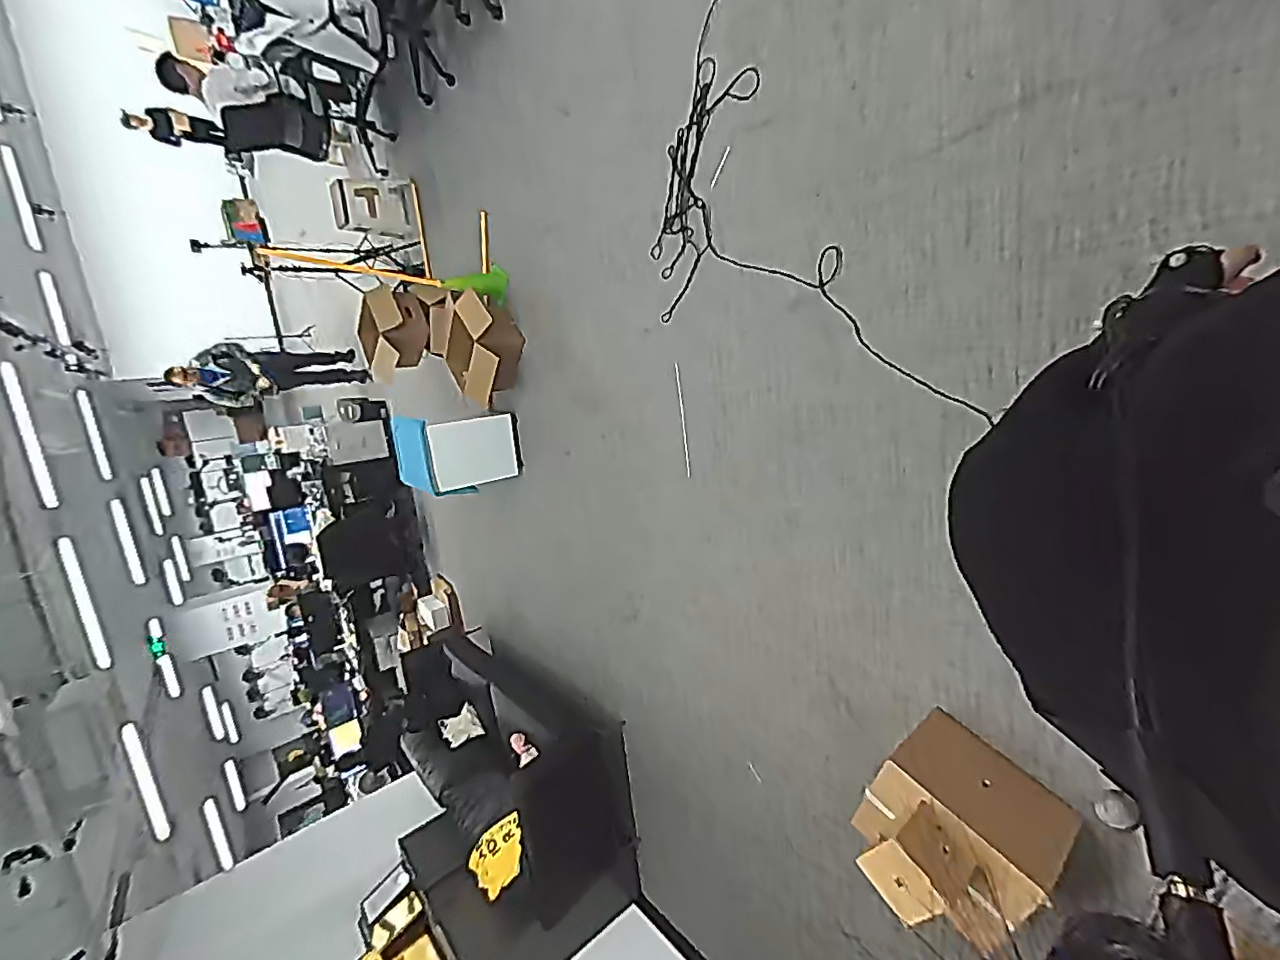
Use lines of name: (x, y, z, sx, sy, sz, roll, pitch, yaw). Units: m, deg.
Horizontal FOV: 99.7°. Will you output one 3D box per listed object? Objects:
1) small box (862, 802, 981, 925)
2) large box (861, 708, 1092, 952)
small box: (0.706, 0.955, 1.353, 0.168, 0.176, 0.179, 49, 134, 32)
large box: (0.908, 0.931, 1.493, 0.408, 0.320, 0.320, 35, 129, 39)
